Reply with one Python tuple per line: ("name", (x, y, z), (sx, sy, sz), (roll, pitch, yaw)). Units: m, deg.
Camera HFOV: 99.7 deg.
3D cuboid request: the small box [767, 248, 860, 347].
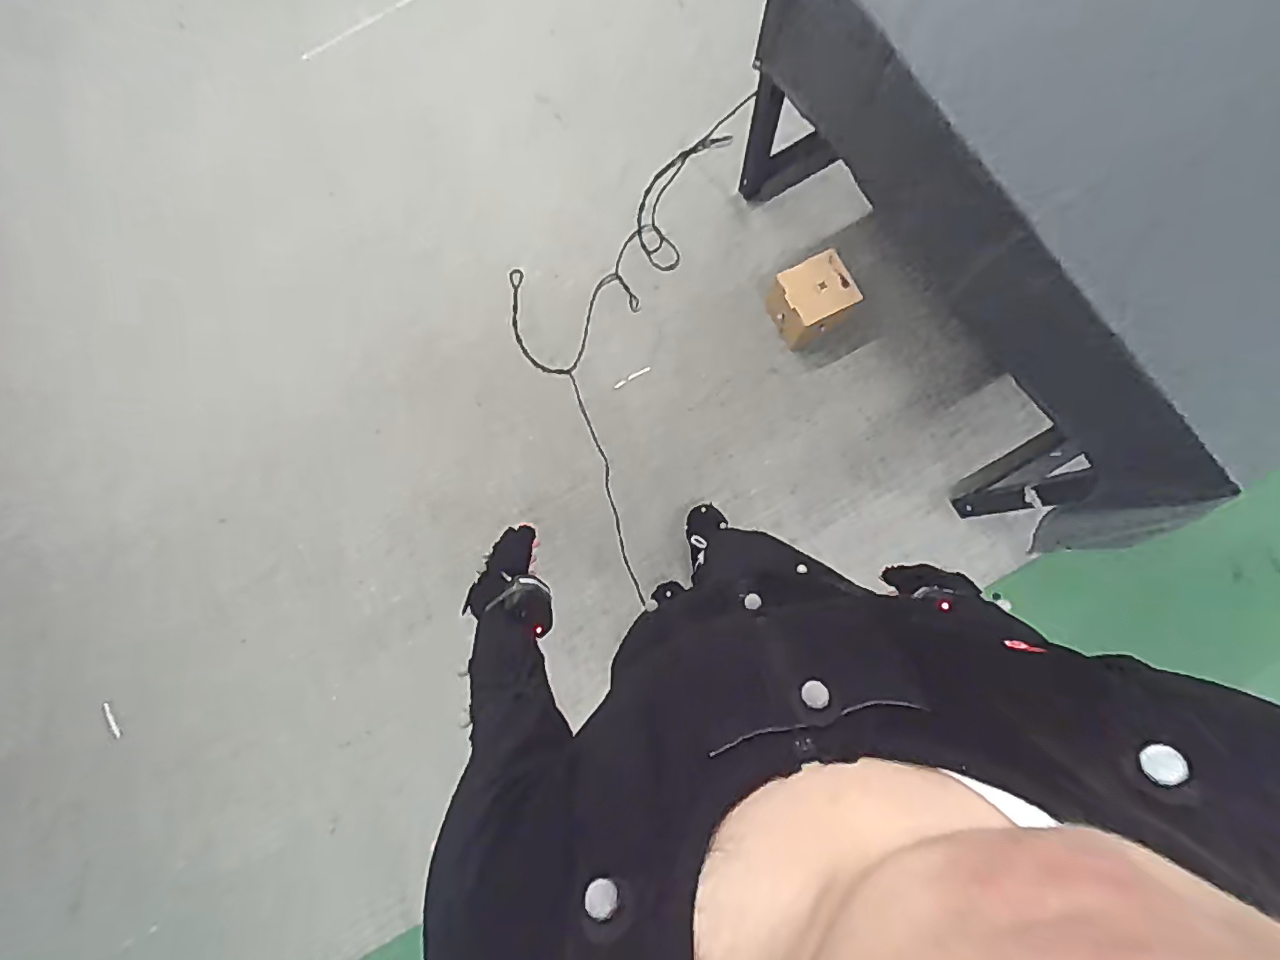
("small box", (0.466, -0.495, 1.492), (0.179, 0.176, 0.168), (-26, 81, -1))
